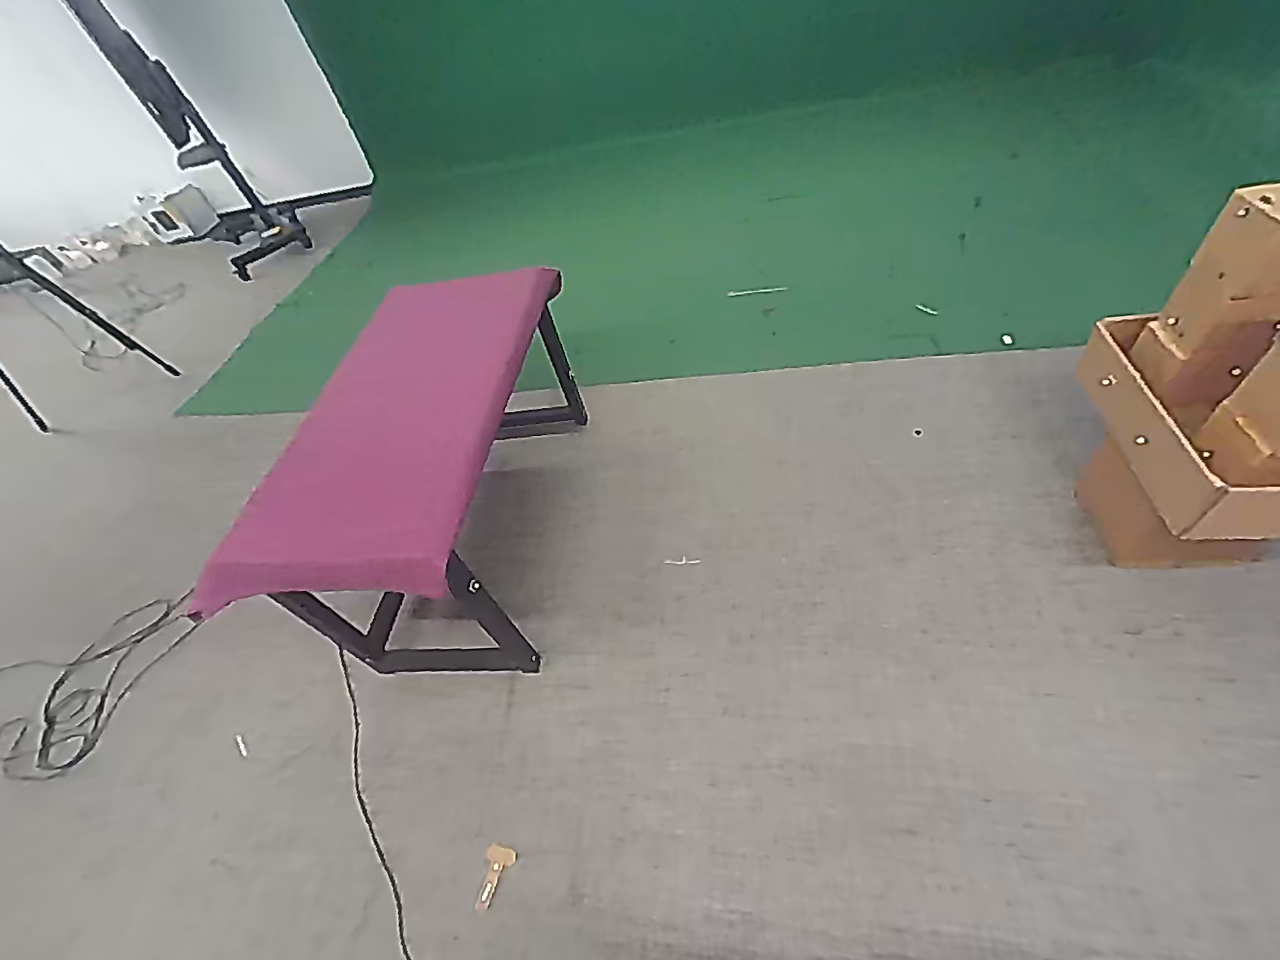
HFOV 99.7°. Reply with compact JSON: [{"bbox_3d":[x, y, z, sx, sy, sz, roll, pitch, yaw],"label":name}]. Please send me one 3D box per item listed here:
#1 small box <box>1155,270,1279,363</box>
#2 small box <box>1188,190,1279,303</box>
[{"bbox_3d":[1.396,-0.395,1.283,0.179,0.176,0.168,0,49,14],"label":"small box"},{"bbox_3d":[1.364,-0.501,1.162,0.179,0.176,0.168,-2,48,11],"label":"small box"}]
